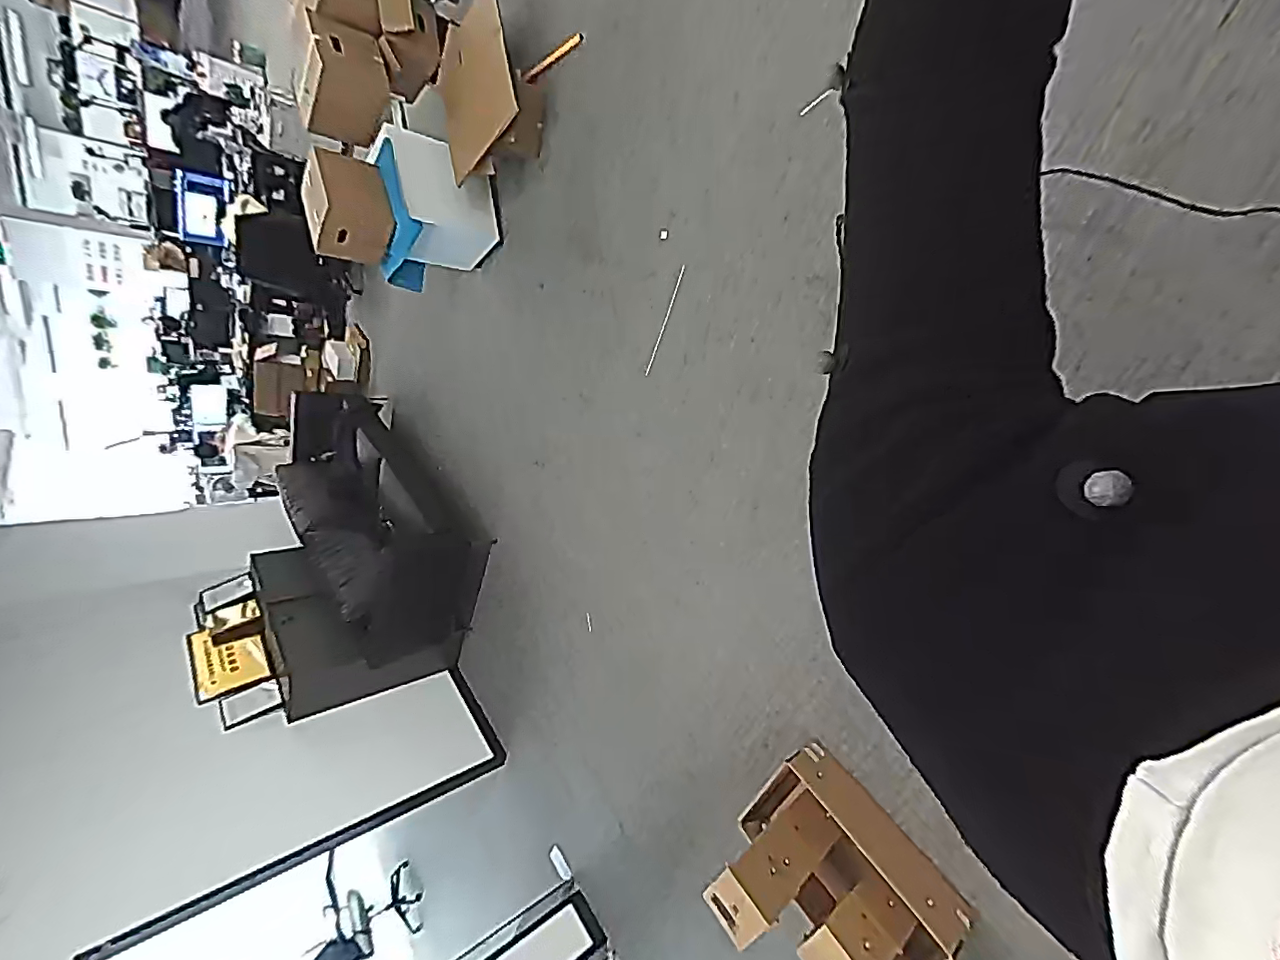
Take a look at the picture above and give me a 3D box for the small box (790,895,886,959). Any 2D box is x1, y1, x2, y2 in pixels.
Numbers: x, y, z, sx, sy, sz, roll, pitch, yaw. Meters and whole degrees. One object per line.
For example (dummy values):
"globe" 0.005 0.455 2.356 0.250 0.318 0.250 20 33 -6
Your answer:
"small box" 0.571 1.346 1.545 0.168 0.176 0.179 43 123 36

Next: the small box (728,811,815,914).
"small box" 0.416 1.193 1.695 0.168 0.176 0.179 42 123 33

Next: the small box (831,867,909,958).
"small box" 0.691 1.338 1.653 0.168 0.176 0.179 44 124 35
